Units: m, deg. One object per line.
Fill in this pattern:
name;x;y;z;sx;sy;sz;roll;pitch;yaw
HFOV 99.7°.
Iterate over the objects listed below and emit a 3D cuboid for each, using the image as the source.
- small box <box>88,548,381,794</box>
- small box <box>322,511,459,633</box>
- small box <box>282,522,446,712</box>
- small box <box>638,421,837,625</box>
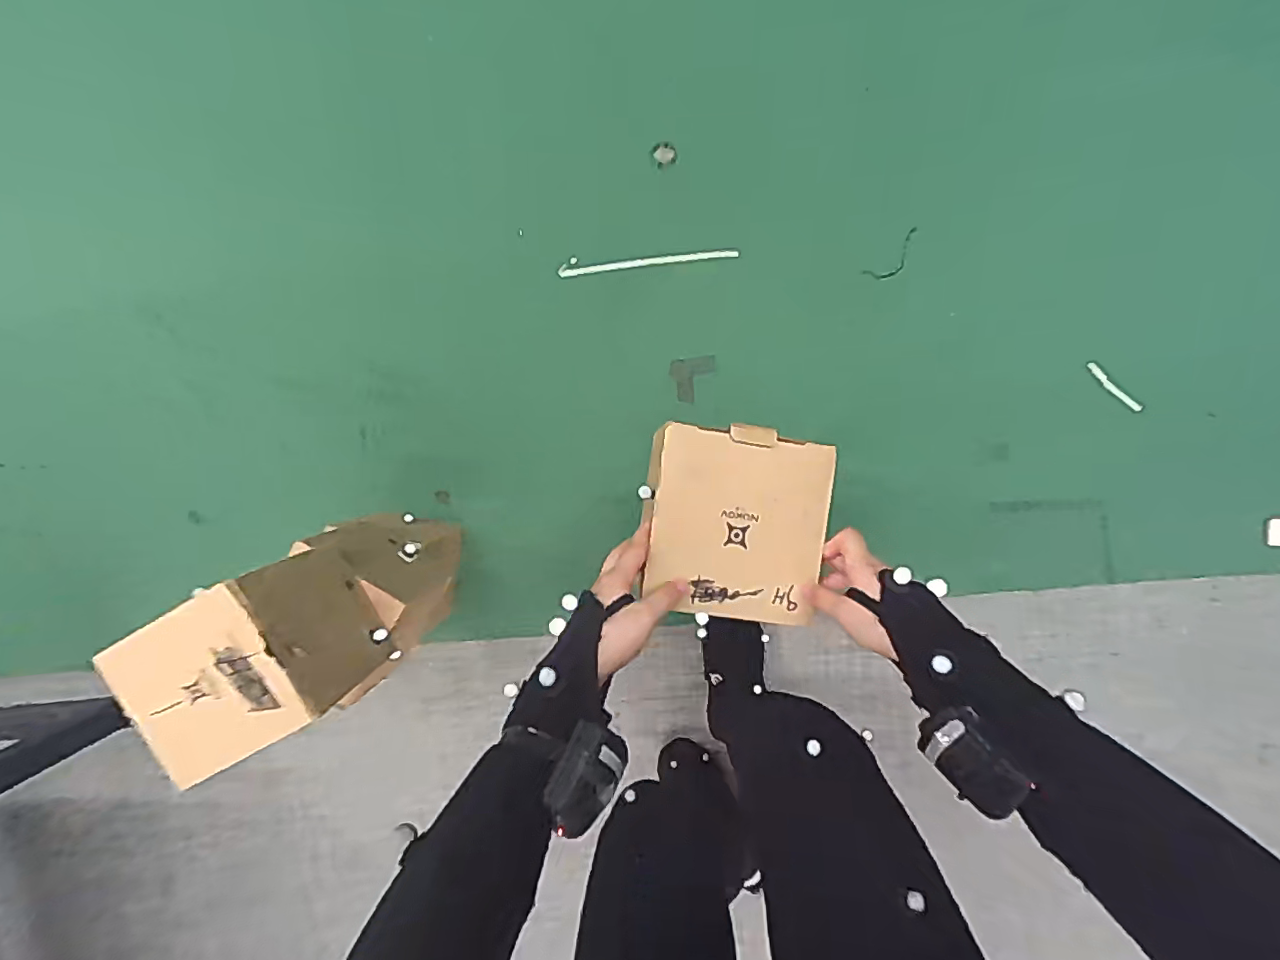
small box;-0.426;0.197;0.608;0.179;0.176;0.168;-28;94;6
small box;-0.430;0.162;0.935;0.168;0.176;0.179;11;96;2
small box;-0.408;0.181;0.772;0.168;0.176;0.179;31;95;-1
small box;0.091;0.040;0.590;0.168;0.176;0.179;9;92;-3
